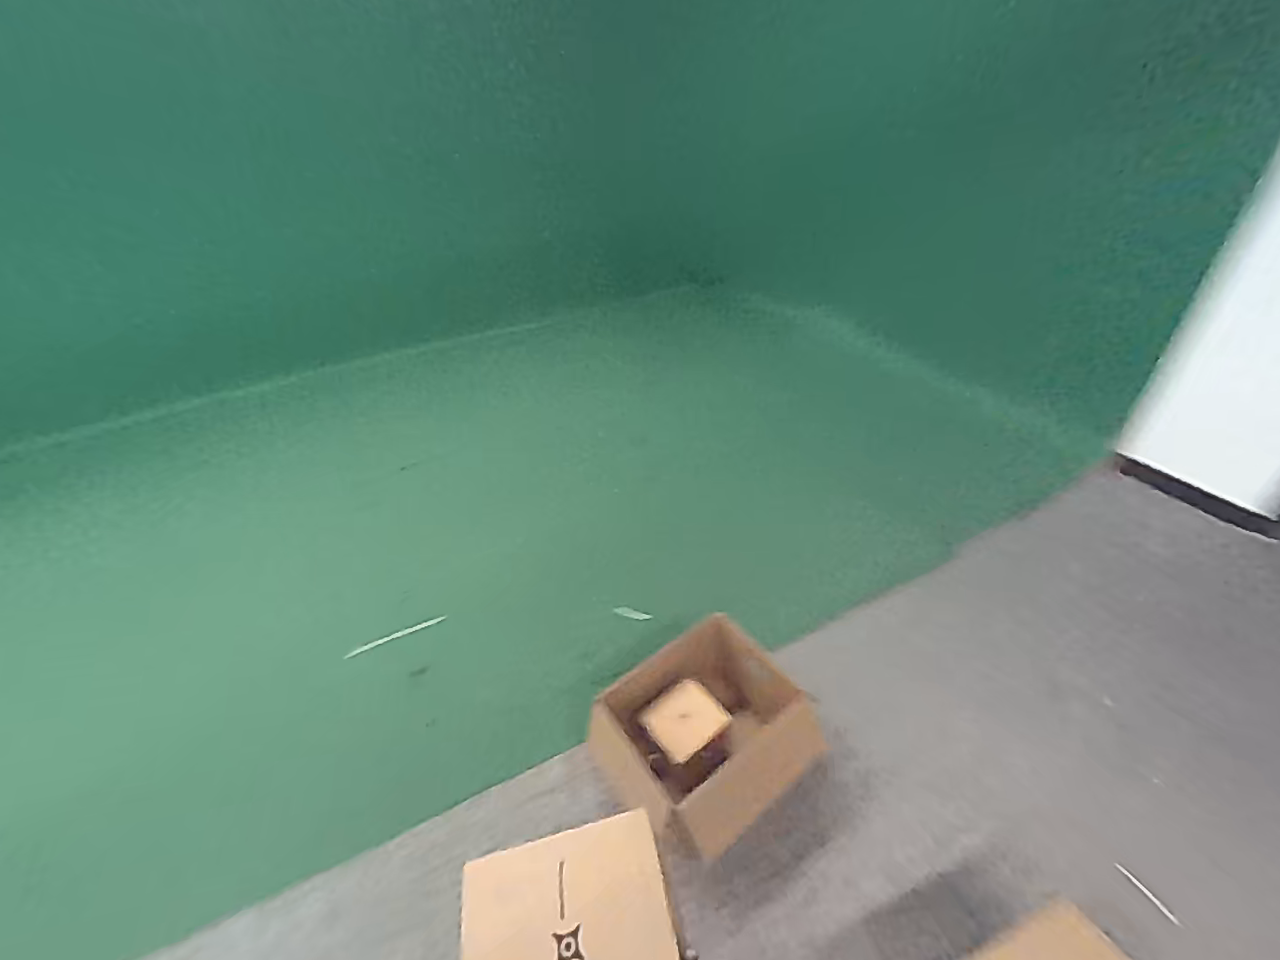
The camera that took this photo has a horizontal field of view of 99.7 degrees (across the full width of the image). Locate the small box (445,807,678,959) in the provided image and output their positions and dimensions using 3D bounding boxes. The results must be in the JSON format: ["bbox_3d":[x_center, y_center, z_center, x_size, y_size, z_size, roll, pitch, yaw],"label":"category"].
[{"bbox_3d":[-0.053,0.419,0.454,0.168,0.176,0.179,-15,39,-5],"label":"small box"}]
